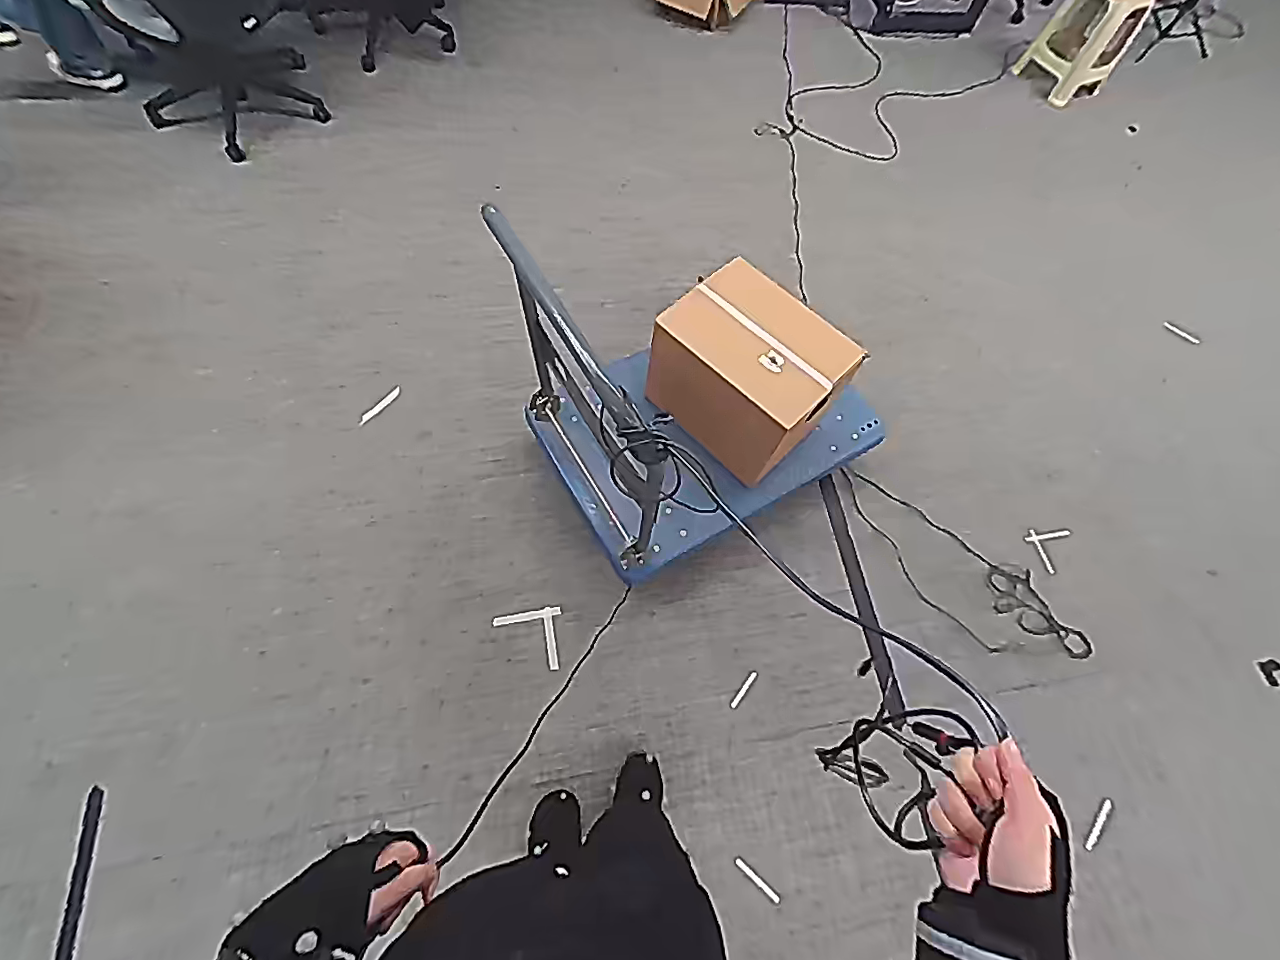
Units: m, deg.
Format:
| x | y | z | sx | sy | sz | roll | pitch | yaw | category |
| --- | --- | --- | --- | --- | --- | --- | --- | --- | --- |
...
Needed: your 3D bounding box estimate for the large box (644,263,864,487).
| x | y | z | sx | sy | sz | roll | pitch | yaw | category |
| --- | --- | --- | --- | --- | --- | --- | --- | --- | --- |
| 0.265 | -0.261 | 1.386 | 0.408 | 0.320 | 0.320 | 43 | 69 | 14 | large box |
